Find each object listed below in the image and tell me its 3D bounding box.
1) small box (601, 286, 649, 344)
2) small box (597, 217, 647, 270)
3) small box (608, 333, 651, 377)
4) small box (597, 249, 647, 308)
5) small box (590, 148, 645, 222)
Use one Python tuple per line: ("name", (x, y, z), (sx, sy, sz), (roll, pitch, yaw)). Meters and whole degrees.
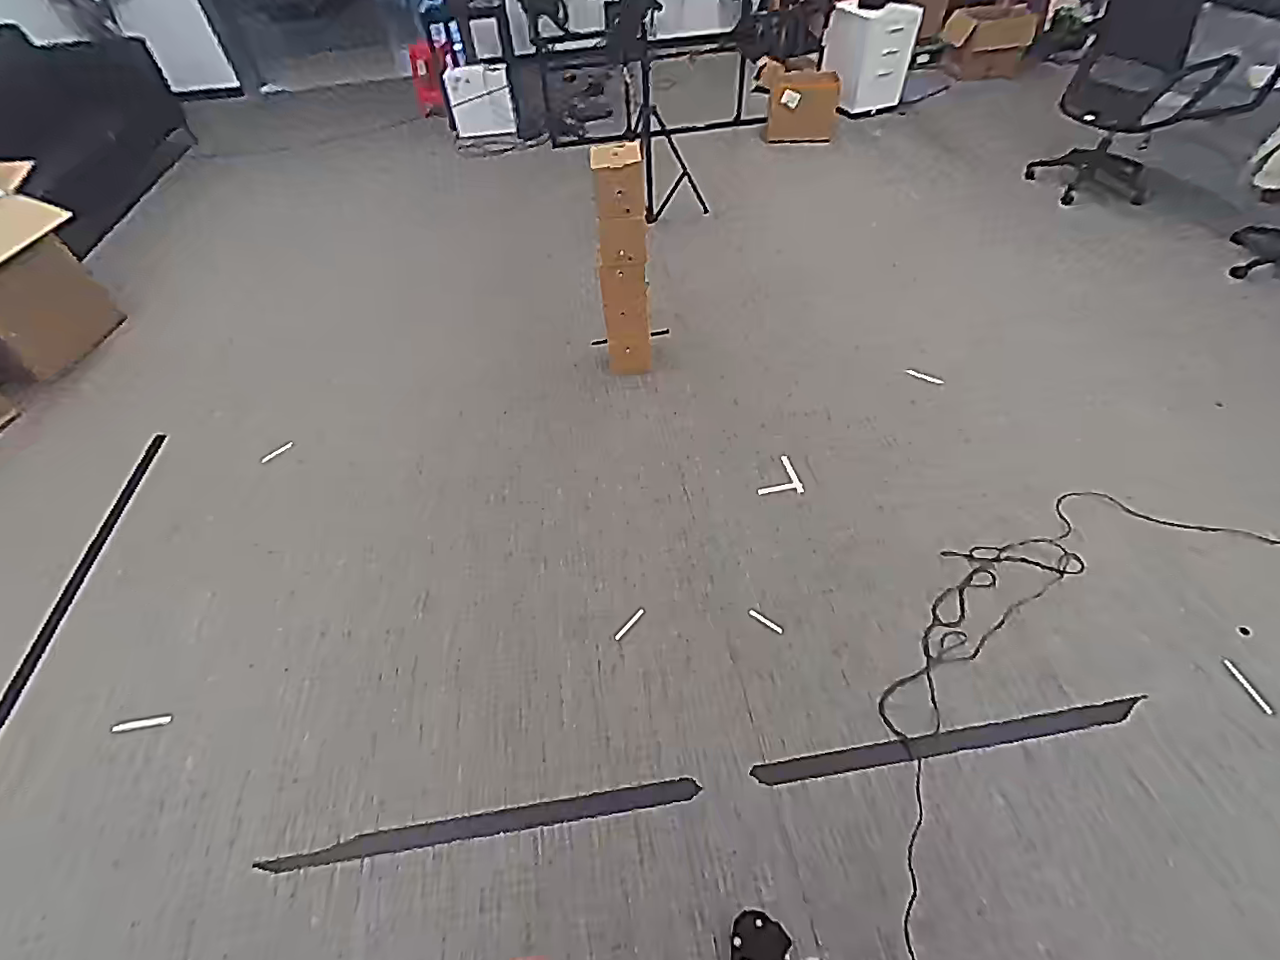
("small box", (-0.055, -0.671, 2.201), (0.179, 0.176, 0.168), (-2, 51, 4))
("small box", (-0.064, -0.883, 1.954), (0.168, 0.176, 0.179), (-4, 52, 2))
("small box", (-0.044, -0.560, 2.322), (0.179, 0.176, 0.168), (-4, 50, 1))
("small box", (-0.067, -0.780, 2.082), (0.179, 0.176, 0.168), (-3, 51, 1))
("small box", (-0.075, -0.994, 1.833), (0.168, 0.176, 0.179), (-6, 52, 0))
